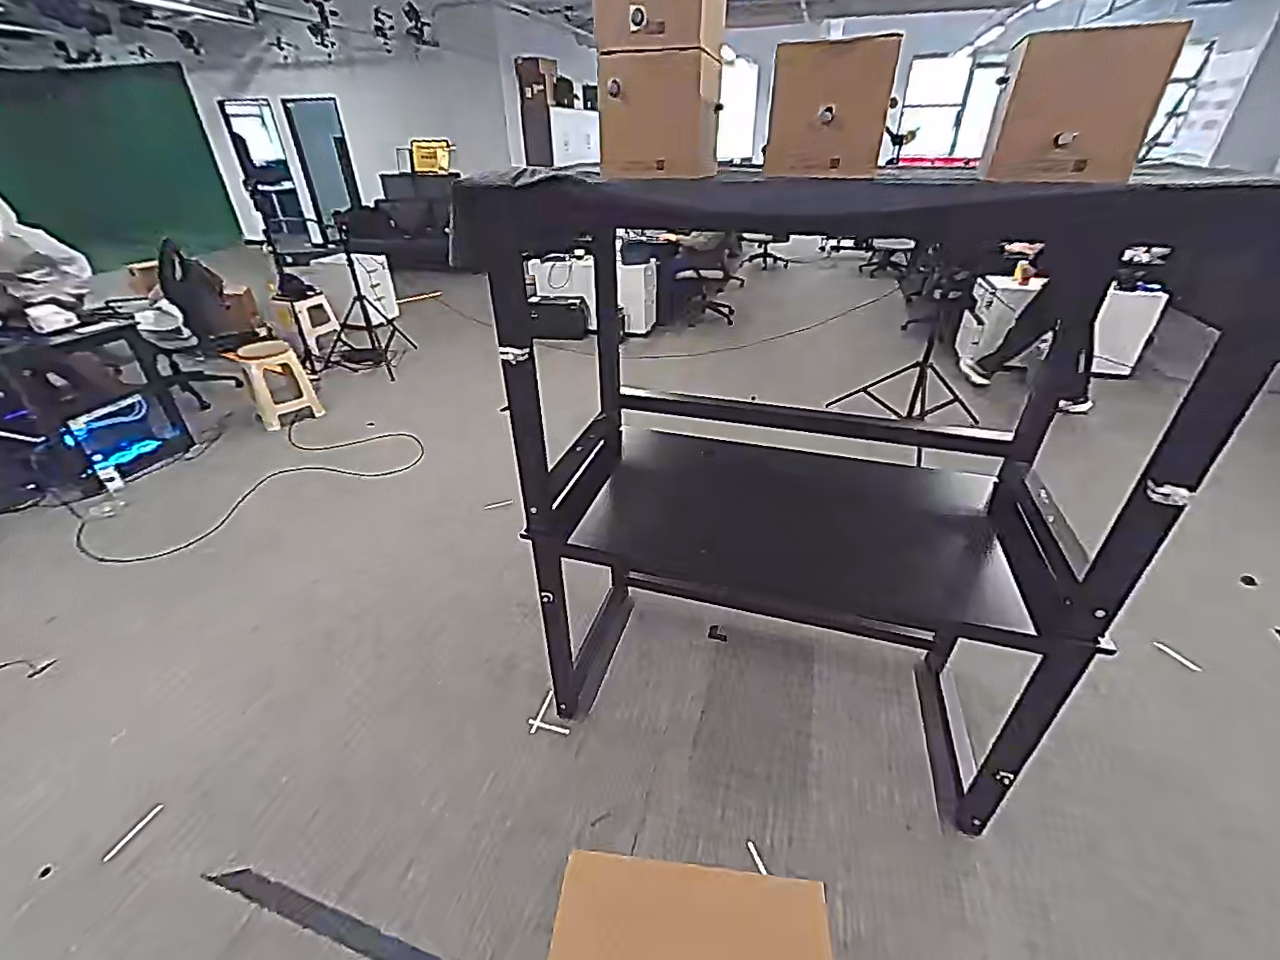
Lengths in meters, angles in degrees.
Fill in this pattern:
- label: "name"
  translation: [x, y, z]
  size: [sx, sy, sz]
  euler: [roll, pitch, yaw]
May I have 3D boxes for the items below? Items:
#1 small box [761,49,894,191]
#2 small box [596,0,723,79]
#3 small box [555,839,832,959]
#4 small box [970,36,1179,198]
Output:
- label: "small box"
  translation: [0.287, -0.552, 0.846]
  size: [0.168, 0.176, 0.179]
  euler: [10, 32, 15]
- label: "small box"
  translation: [0.032, -0.731, 0.831]
  size: [0.168, 0.176, 0.179]
  euler: [8, 32, 15]
- label: "small box"
  translation: [0.029, 0.366, 0.339]
  size: [0.168, 0.176, 0.179]
  euler: [2, 36, 8]
- label: "small box"
  translation: [0.586, -0.501, 0.762]
  size: [0.168, 0.176, 0.179]
  euler: [12, 34, 20]
